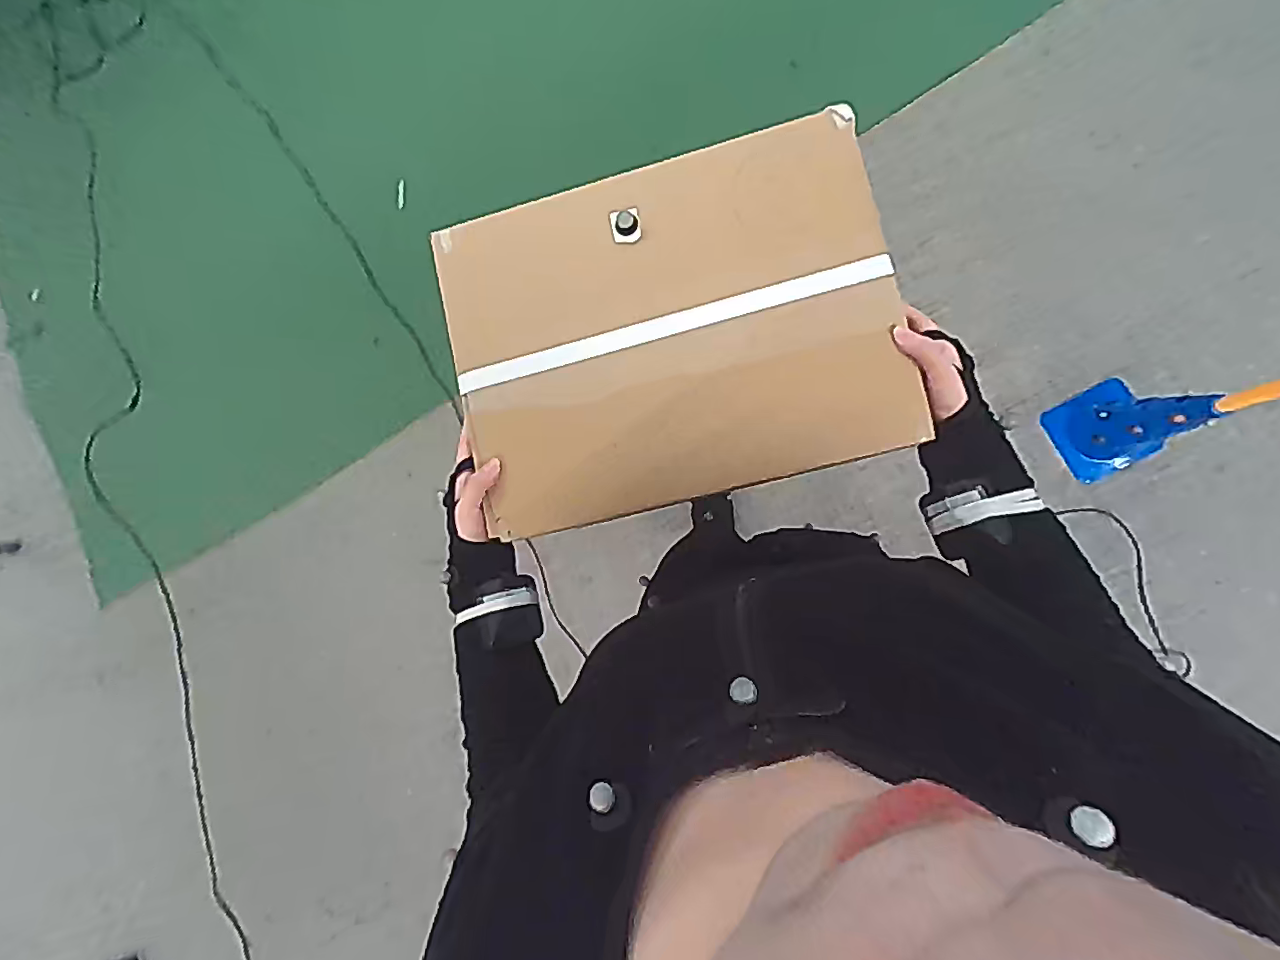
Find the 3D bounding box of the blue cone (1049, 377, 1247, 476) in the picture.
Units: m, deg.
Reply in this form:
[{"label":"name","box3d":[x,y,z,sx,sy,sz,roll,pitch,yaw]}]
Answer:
[{"label":"blue cone","box3d":[1.068,-0.137,1.123,0.193,0.380,0.192,-32,82,8]}]
